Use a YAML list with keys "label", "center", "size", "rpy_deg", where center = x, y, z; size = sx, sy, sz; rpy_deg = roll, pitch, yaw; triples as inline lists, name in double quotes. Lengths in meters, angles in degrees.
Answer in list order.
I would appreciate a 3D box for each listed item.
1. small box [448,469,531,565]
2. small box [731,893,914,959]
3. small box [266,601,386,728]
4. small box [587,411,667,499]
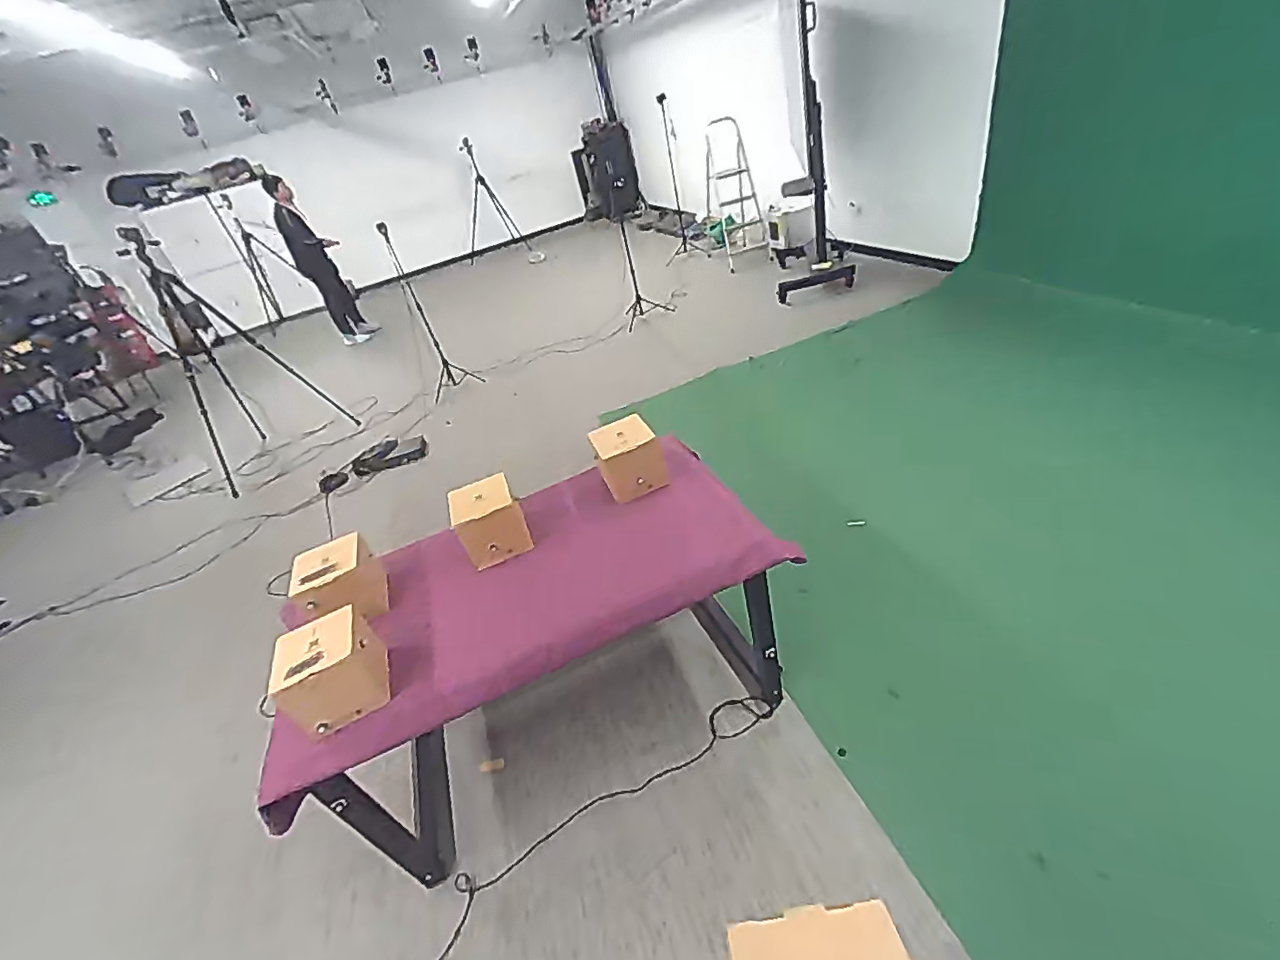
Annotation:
- label: "small box"
  center: [-0.419, 0.103, 1.502]
  size: [0.168, 0.176, 0.179]
  rpy_deg: [-22, 37, -10]
- label: "small box"
  center: [0.185, 0.542, 0.510]
  size: [0.168, 0.176, 0.179]
  rpy_deg: [-8, 27, -1]
- label: "small box"
  center: [-0.671, 0.405, 1.175]
  size: [0.168, 0.176, 0.179]
  rpy_deg: [-25, 34, -14]
- label: "small box"
  center: [-0.038, -0.073, 1.592]
  size: [0.168, 0.176, 0.179]
  rpy_deg: [-24, 37, -8]
